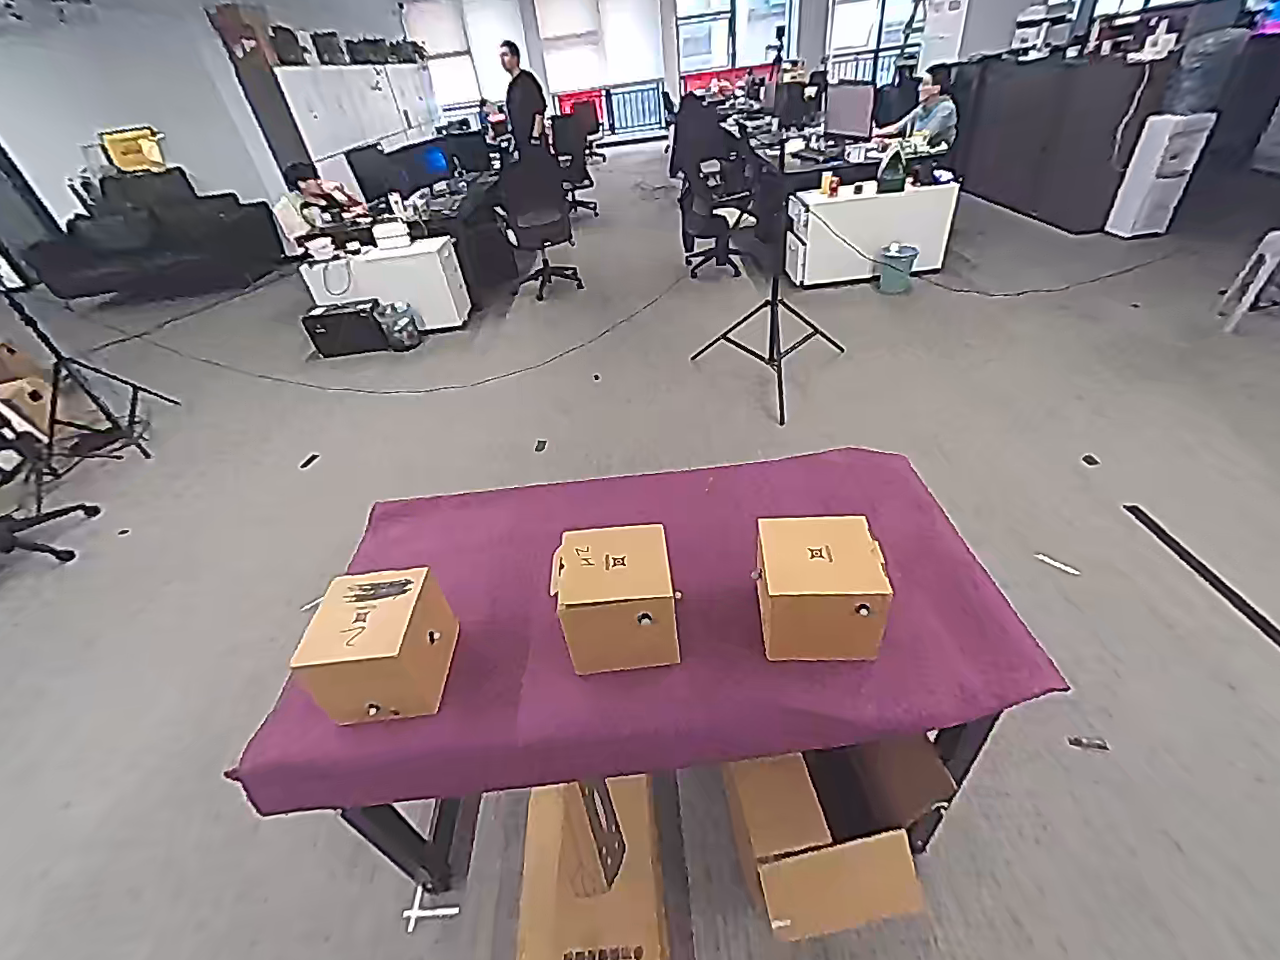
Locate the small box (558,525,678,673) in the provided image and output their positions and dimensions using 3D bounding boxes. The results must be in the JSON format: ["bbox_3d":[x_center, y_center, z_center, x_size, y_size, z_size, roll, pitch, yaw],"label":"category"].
[{"bbox_3d":[-0.030,0.199,0.906,0.179,0.176,0.168,-7,35,1],"label":"small box"}]

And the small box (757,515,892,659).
[{"bbox_3d":[0.286,0.175,0.880,0.179,0.176,0.168,-3,38,7],"label":"small box"}]
